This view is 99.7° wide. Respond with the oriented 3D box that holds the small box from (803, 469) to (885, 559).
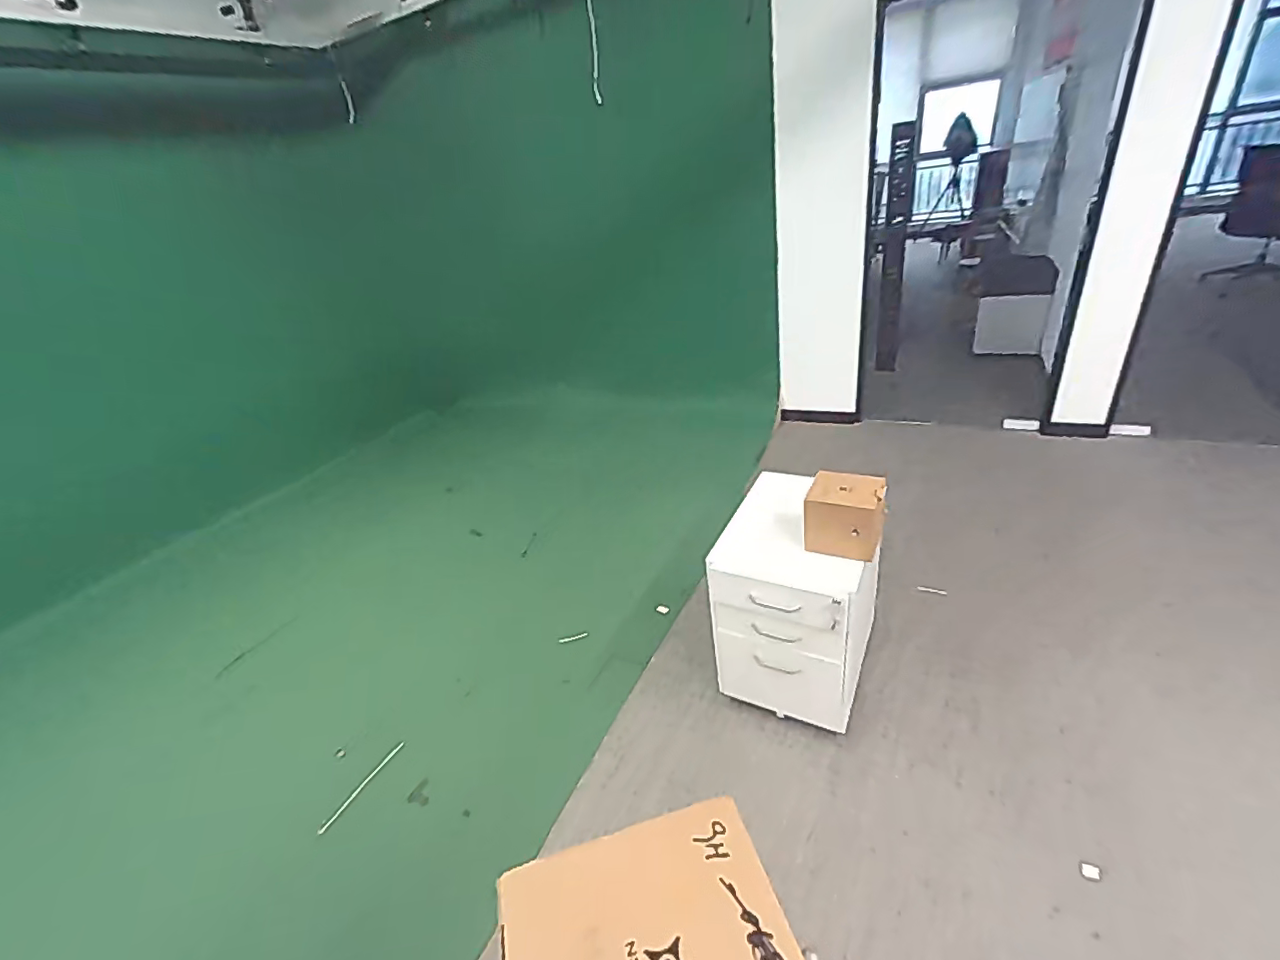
[{"bbox_3d":[0.545,0.091,1.444,0.179,0.176,0.168,7,32,30],"label":"small box"}]
